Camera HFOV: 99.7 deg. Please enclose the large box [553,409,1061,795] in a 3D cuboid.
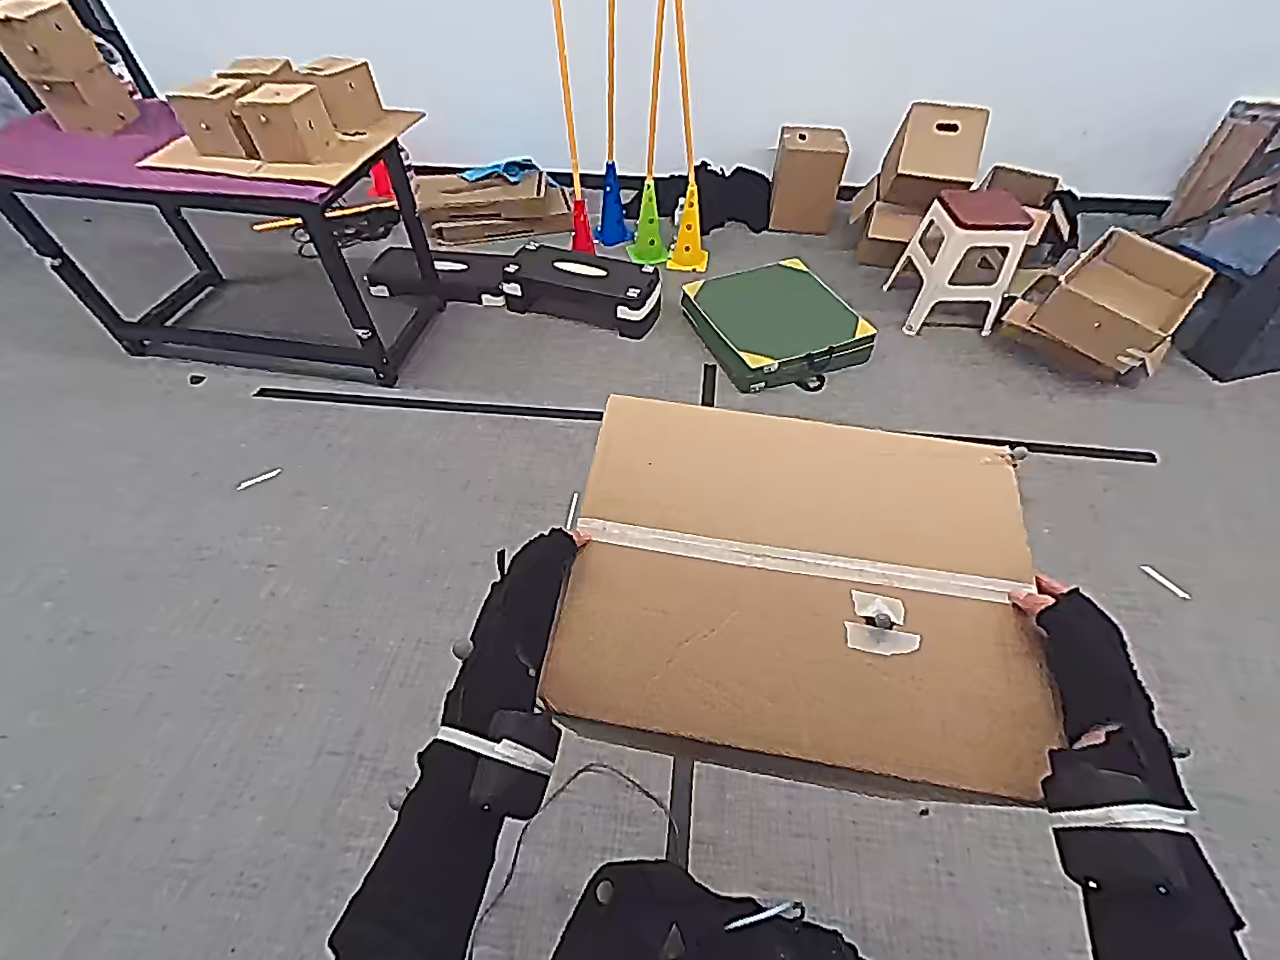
[{"bbox_3d":[0.143,0.151,0.620,0.408,0.320,0.320,8,63,4],"label":"large box"}]
